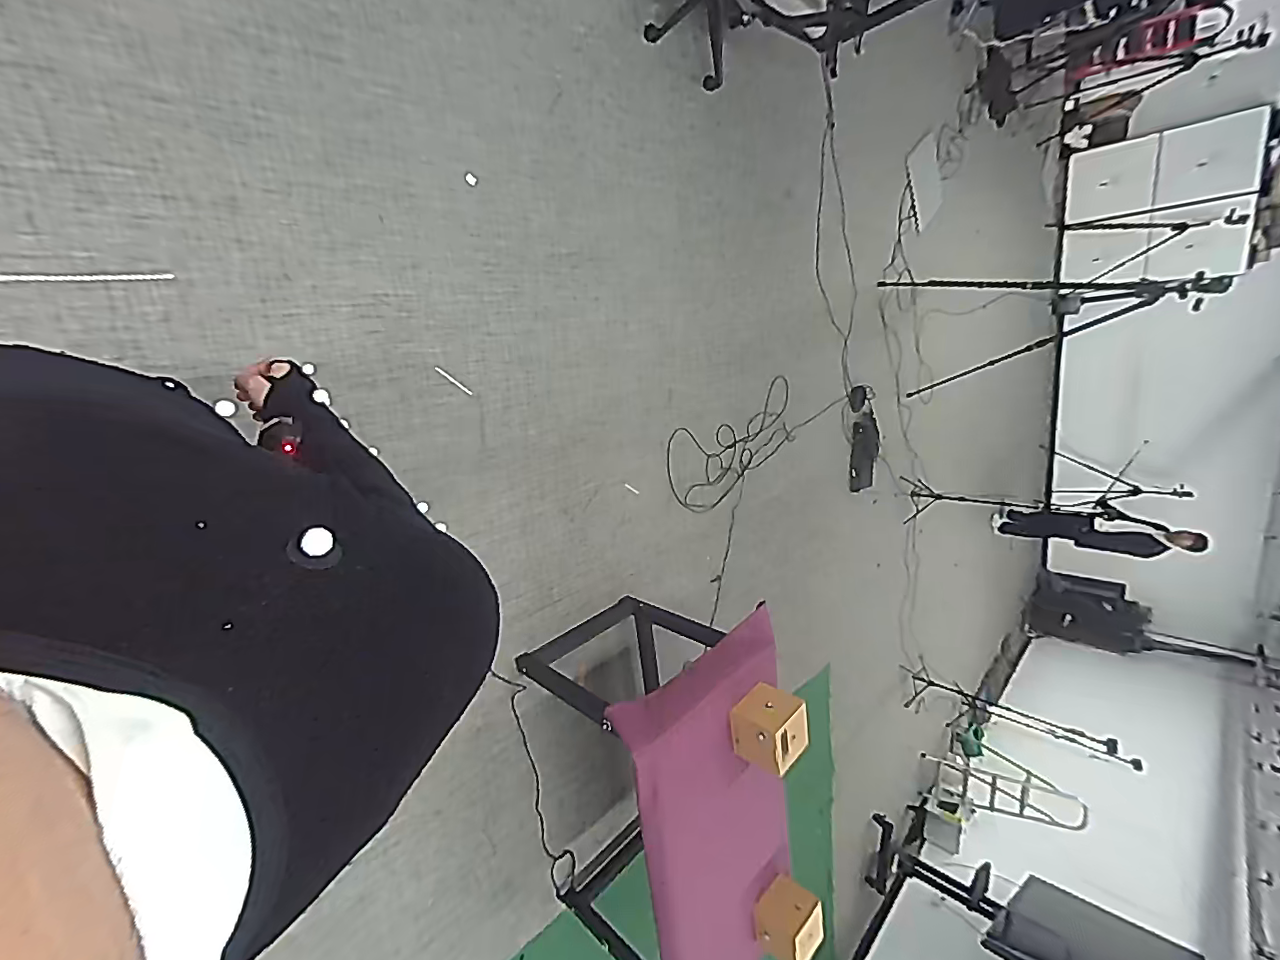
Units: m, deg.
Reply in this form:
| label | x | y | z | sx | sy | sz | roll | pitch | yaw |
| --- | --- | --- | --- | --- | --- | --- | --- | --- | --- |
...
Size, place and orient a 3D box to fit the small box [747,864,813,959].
| label | x | y | z | sx | sy | sz | roll | pitch | yaw |
| --- | --- | --- | --- | --- | --- | --- | --- | --- | --- |
| small box | 0.507 | 1.554 | 1.962 | 0.179 | 0.176 | 0.168 | -18 | 106 | -41 |
